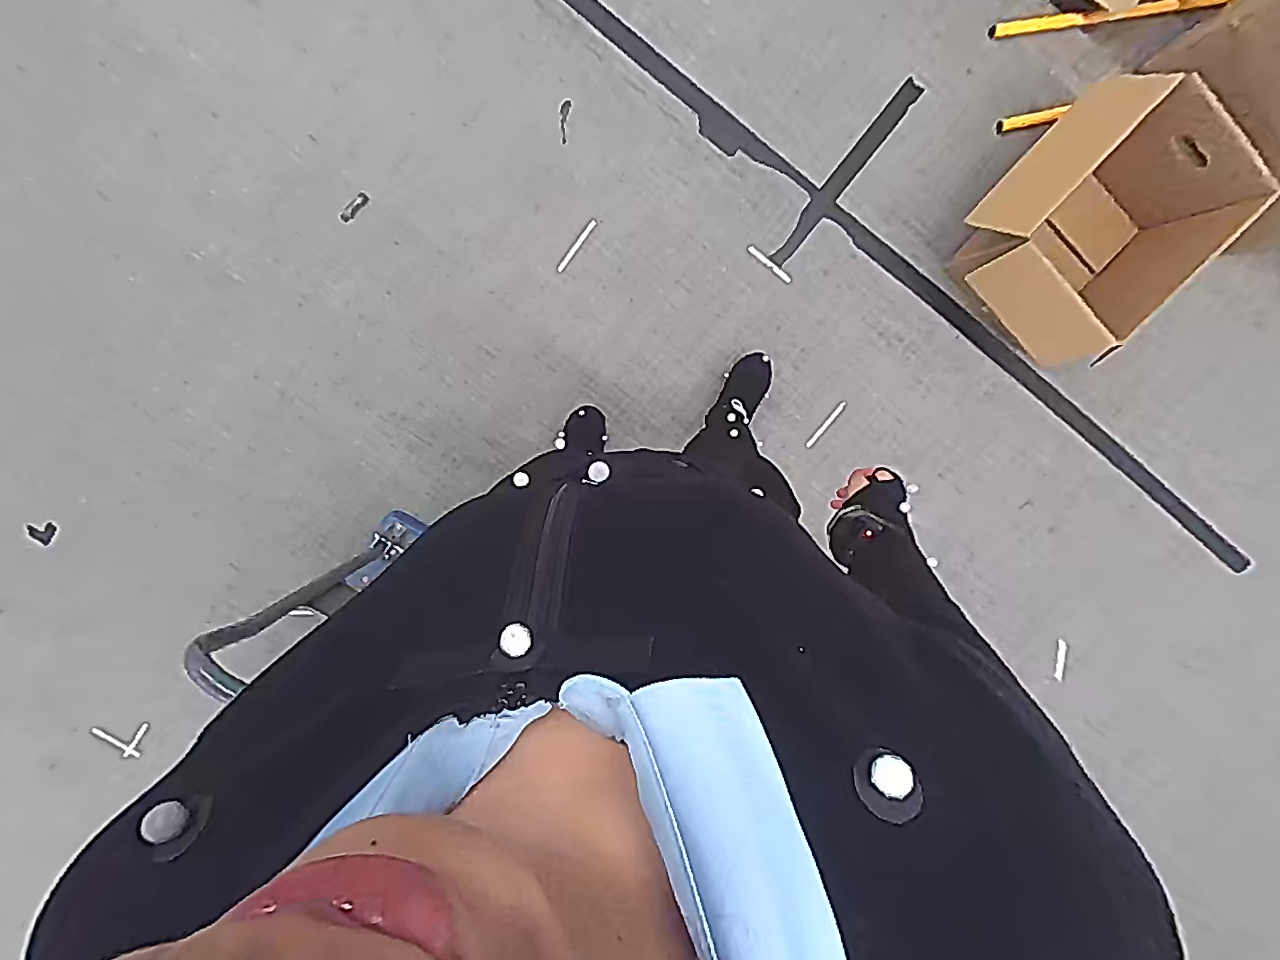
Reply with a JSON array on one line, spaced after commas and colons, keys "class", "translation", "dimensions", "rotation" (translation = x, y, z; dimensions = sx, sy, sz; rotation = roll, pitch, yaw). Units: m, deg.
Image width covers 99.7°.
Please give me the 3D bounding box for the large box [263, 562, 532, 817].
[{"class": "large box", "translation": [-0.520, 0.455, 1.240], "dimensions": [0.408, 0.320, 0.320], "rotation": [34, 98, -5]}]
